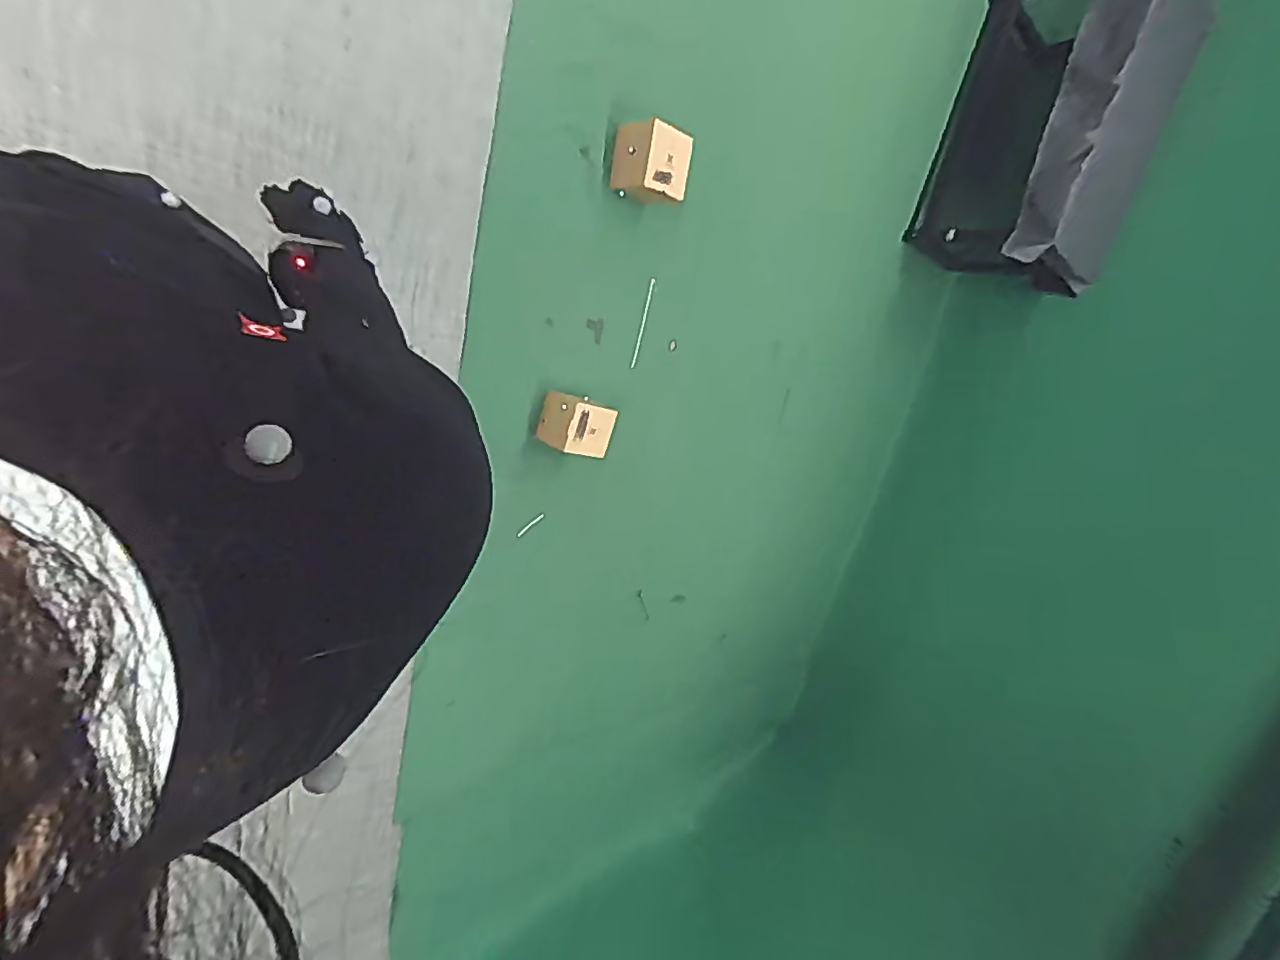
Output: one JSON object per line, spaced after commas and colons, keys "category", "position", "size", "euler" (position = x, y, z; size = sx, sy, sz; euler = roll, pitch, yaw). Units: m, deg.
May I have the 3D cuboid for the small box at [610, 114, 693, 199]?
{"category": "small box", "position": [0.029, -0.963, 1.629], "size": [0.168, 0.176, 0.179], "euler": [-5, 112, -43]}
